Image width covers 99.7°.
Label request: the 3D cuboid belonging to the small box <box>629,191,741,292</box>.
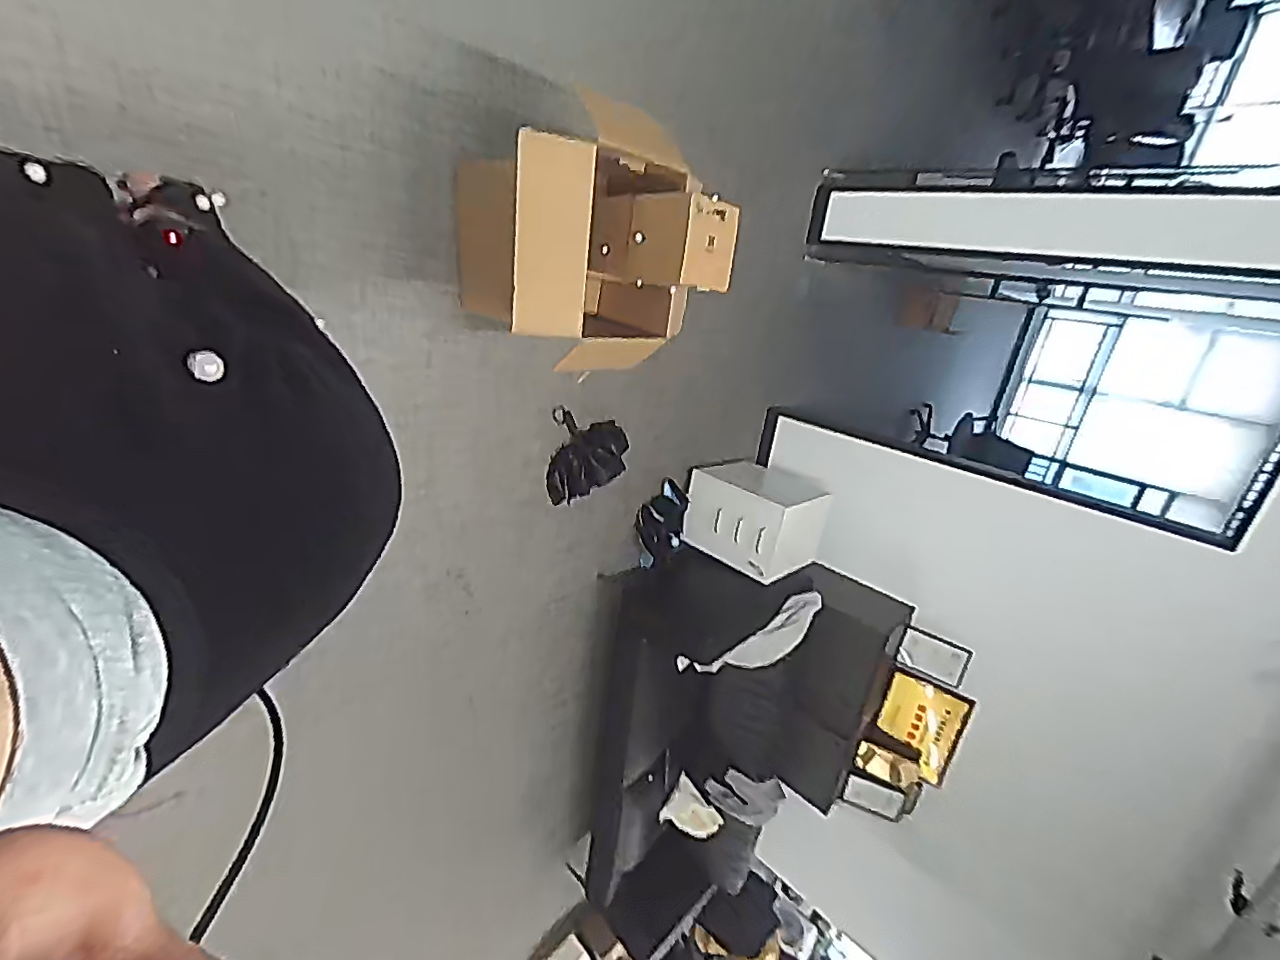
[{"bbox_3d":[0.093,-0.524,1.194,0.168,0.176,0.179,-11,117,-44],"label":"small box"}]
